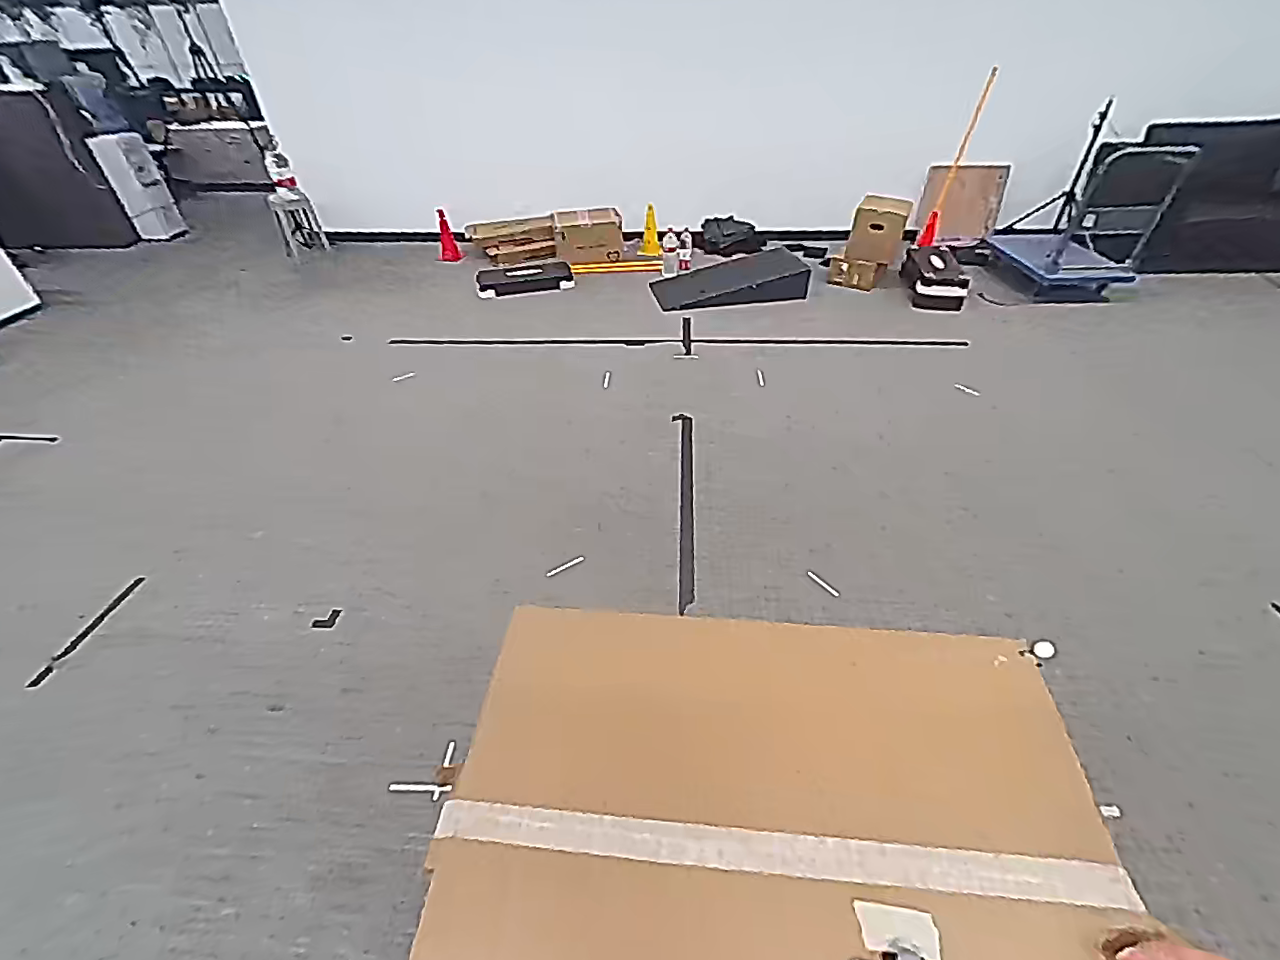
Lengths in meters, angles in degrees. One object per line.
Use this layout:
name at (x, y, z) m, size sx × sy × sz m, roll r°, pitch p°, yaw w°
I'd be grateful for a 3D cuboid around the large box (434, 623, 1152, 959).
large box at (0.088, 0.339, 0.439) m, size 0.408 × 0.320 × 0.320 m, roll 2°, pitch 47°, yaw 5°
